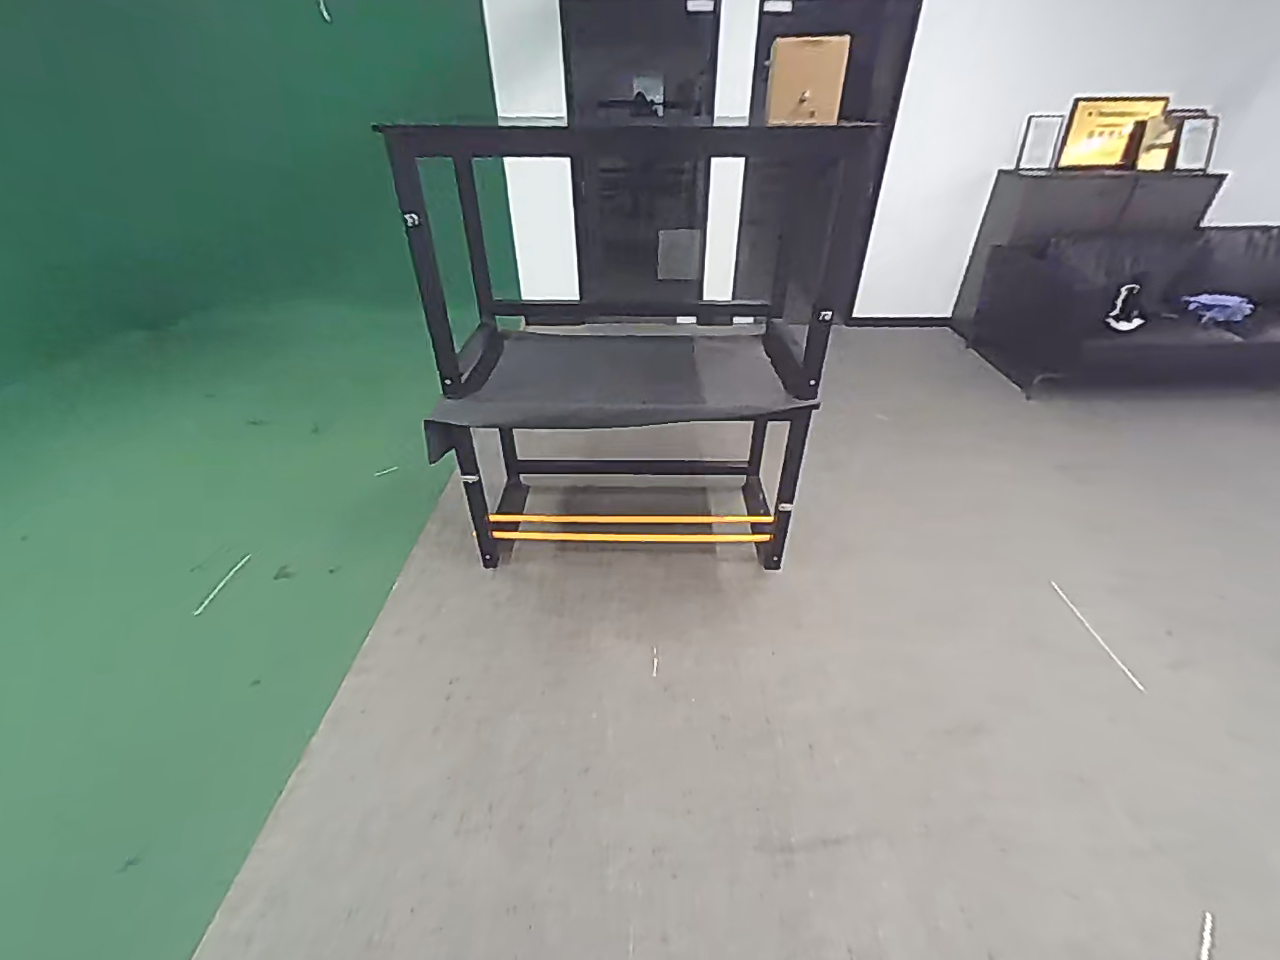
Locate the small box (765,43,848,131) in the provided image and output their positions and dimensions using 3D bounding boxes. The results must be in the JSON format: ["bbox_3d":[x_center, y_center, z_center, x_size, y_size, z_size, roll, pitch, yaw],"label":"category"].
[{"bbox_3d":[0.410,-0.985,1.360,0.168,0.176,0.179,4,35,7],"label":"small box"}]
